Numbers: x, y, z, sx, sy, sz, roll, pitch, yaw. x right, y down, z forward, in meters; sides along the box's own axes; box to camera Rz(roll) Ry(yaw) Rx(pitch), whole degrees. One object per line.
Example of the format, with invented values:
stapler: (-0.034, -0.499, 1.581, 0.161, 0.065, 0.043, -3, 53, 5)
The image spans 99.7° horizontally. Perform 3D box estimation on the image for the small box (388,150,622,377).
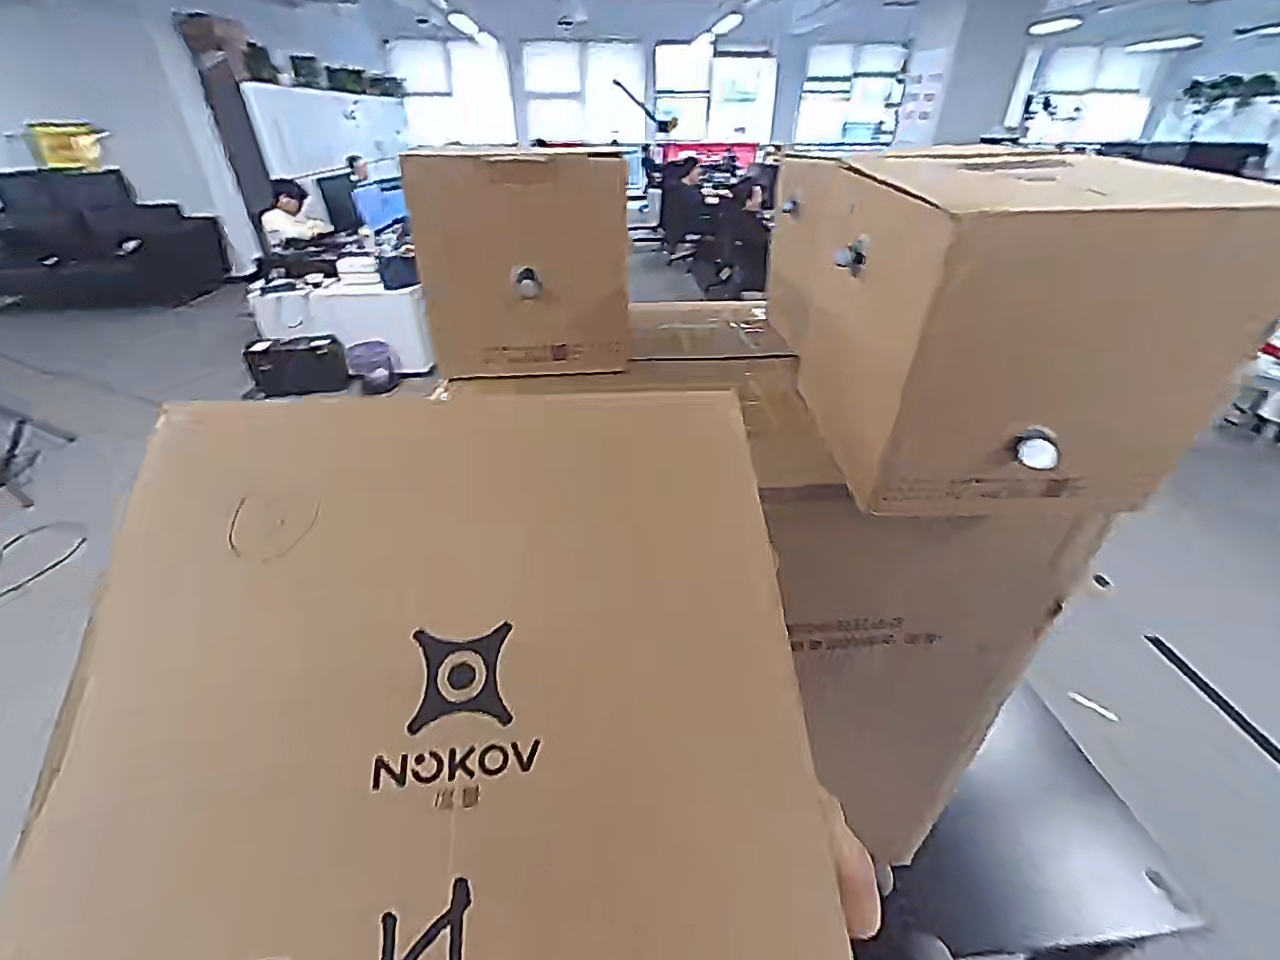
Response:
small box: (-0.108, -0.200, 0.498, 0.168, 0.176, 0.179, -5, 33, -8)

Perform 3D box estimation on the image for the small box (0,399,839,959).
small box: (-0.051, 0.089, 0.199, 0.168, 0.176, 0.179, -3, 65, -6)

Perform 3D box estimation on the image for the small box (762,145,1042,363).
small box: (0.217, -0.214, 0.511, 0.168, 0.176, 0.179, -3, 32, 0)

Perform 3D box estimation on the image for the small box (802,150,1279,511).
small box: (0.208, -0.098, 0.340, 0.168, 0.176, 0.179, -2, 37, 3)
